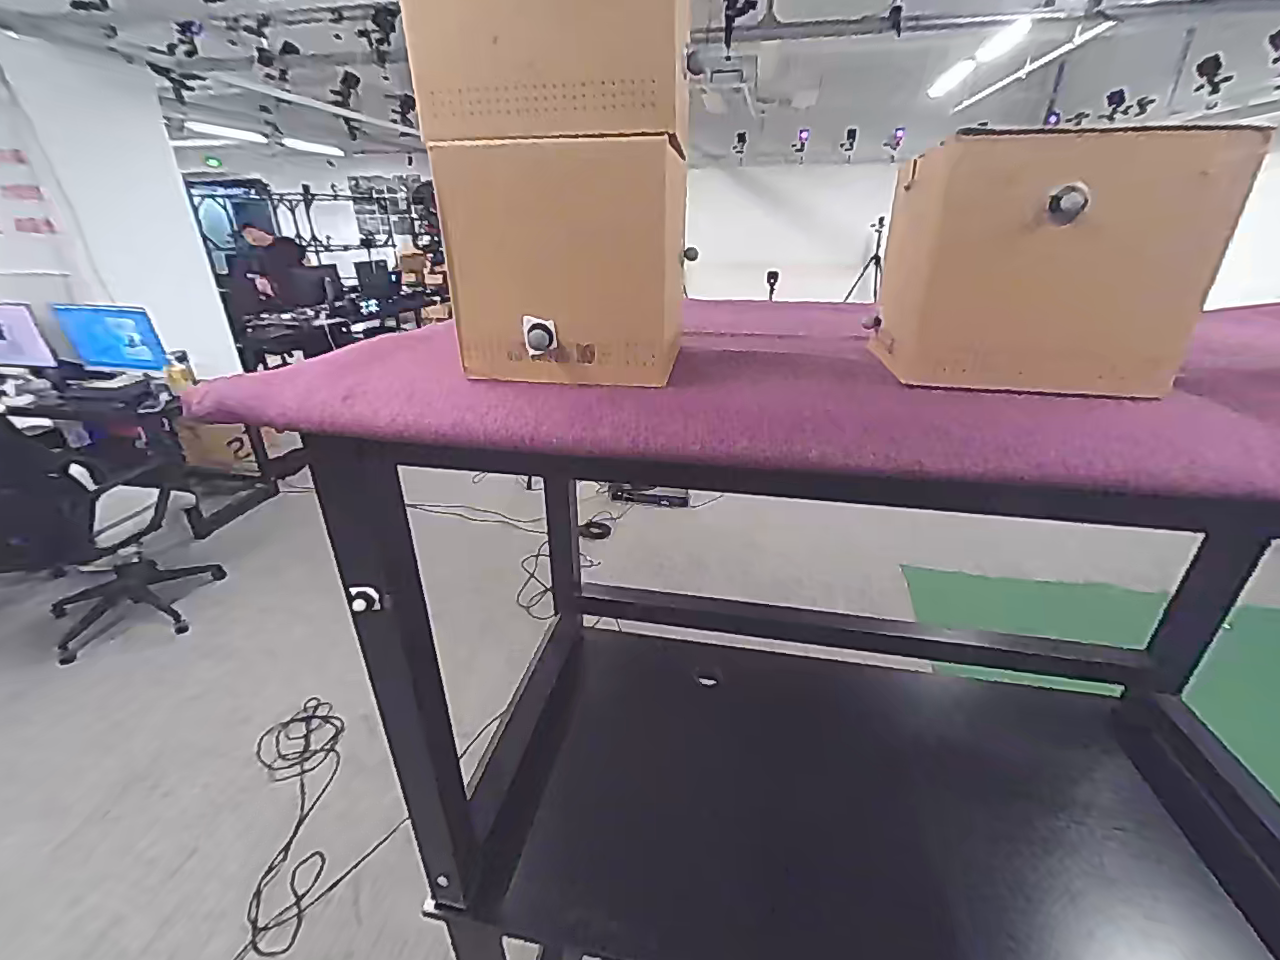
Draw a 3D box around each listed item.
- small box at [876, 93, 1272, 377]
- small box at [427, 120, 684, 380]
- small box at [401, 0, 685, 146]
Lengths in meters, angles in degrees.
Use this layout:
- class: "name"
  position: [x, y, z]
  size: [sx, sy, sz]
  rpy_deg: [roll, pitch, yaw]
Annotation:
- class: "small box"
  position: [0.298, -0.181, 0.428]
  size: [0.179, 0.176, 0.168]
  rpy_deg: [5, 25, 11]
- class: "small box"
  position: [-0.052, -0.190, 0.458]
  size: [0.168, 0.176, 0.179]
  rpy_deg: [2, 27, 7]
- class: "small box"
  position: [-0.059, -0.340, 0.390]
  size: [0.179, 0.176, 0.168]
  rpy_deg: [2, 26, 7]
